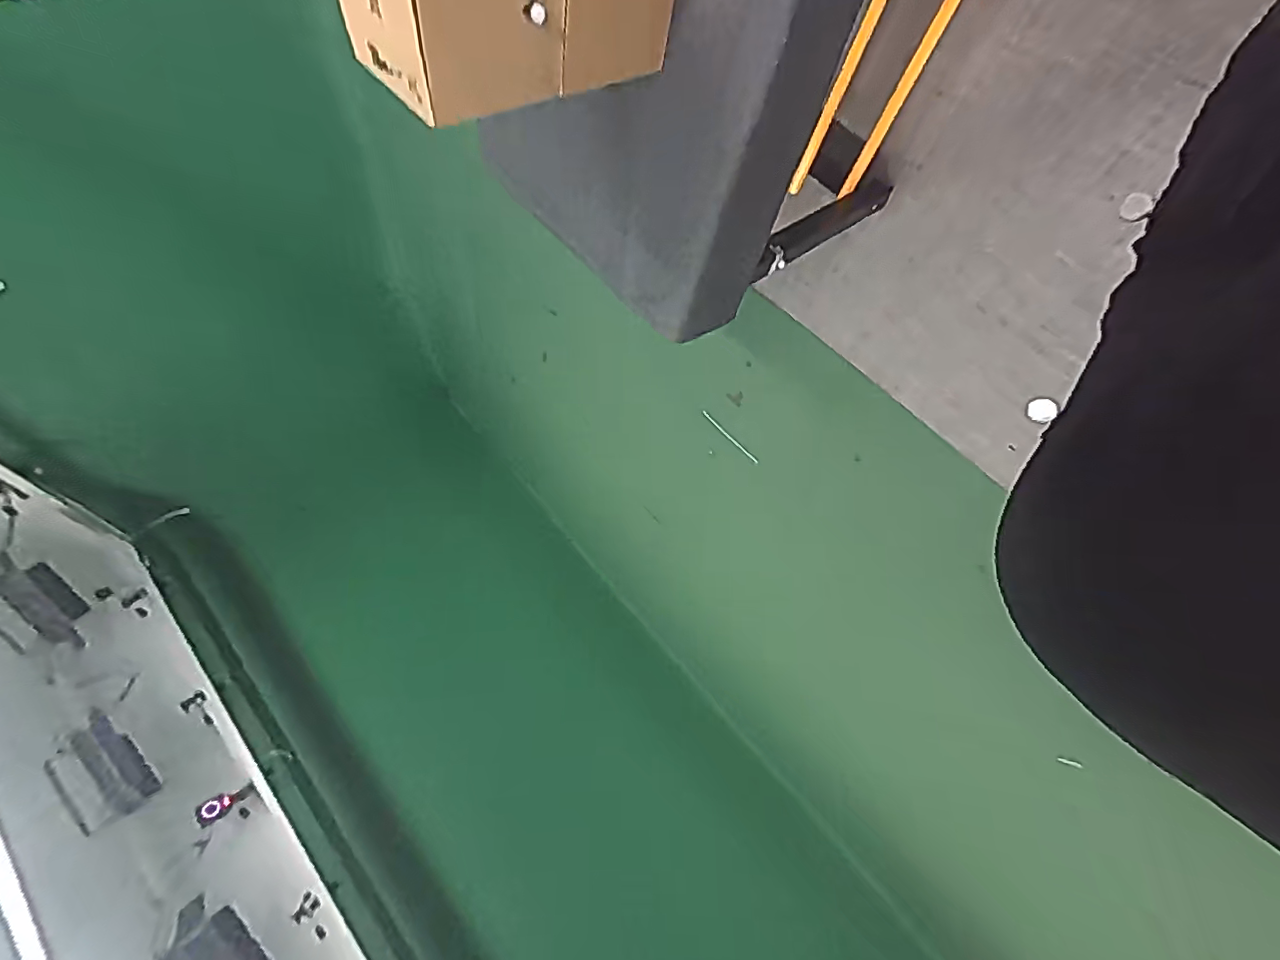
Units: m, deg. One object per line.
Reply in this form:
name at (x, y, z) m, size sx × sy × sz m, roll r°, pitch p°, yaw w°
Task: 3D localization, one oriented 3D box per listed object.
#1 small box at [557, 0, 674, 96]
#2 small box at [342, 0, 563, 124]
small box at (-0.066, -0.592, 0.620) m, size 0.168 × 0.176 × 0.179 m, roll 47°, pitch 153°, yaw 16°
small box at (-0.191, -0.511, 0.550) m, size 0.168 × 0.176 × 0.179 m, roll 47°, pitch 152°, yaw 17°
